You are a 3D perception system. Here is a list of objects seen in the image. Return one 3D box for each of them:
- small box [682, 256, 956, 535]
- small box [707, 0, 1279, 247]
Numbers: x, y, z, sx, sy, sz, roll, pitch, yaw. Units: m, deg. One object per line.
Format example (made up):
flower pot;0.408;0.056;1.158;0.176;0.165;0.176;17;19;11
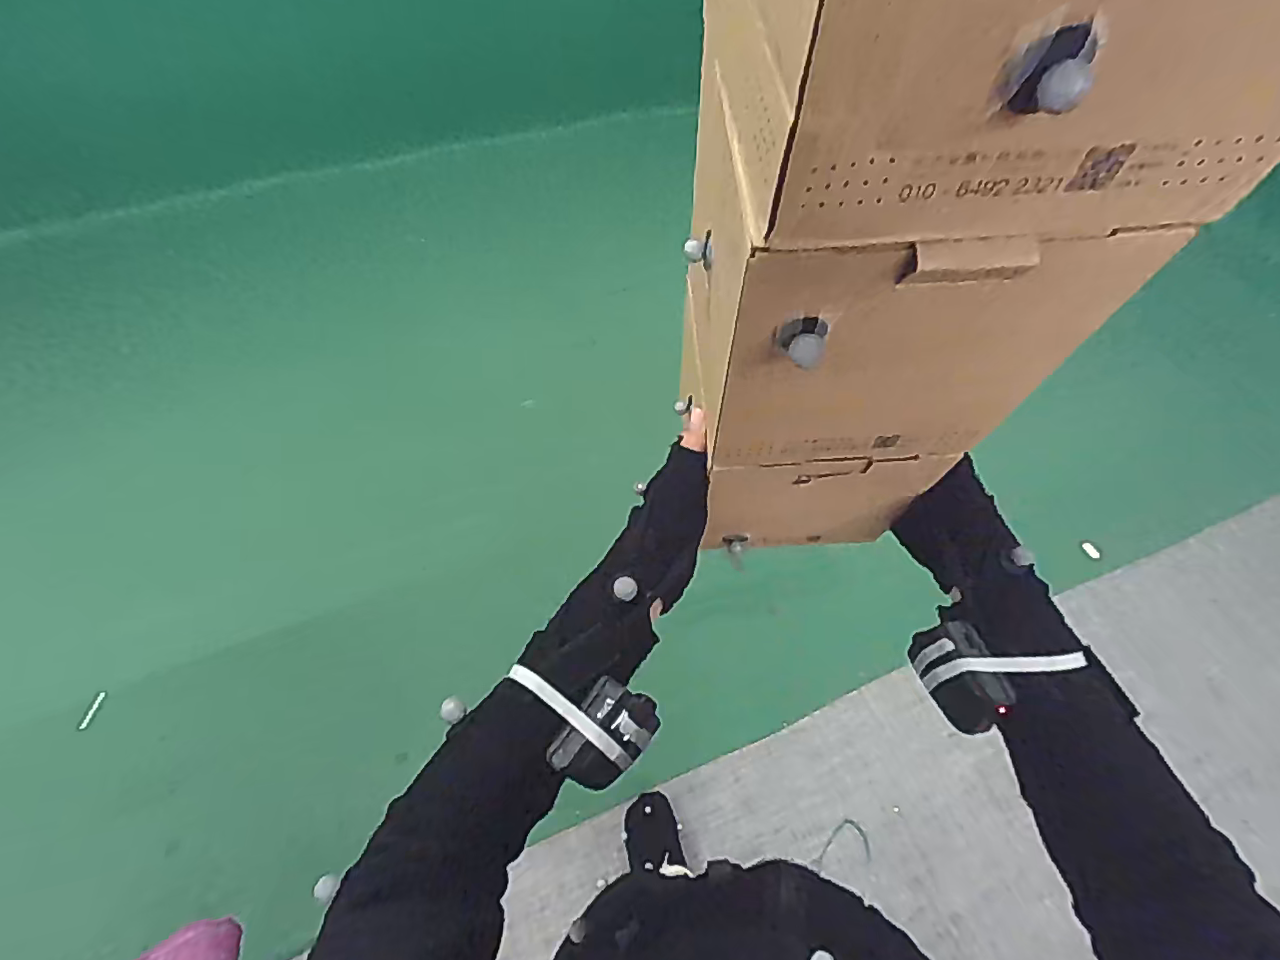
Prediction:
small box;0.124;-0.058;0.458;0.168;0.176;0.179;-3;64;0
small box;0.117;-0.202;0.164;0.168;0.176;0.179;-5;64;0
